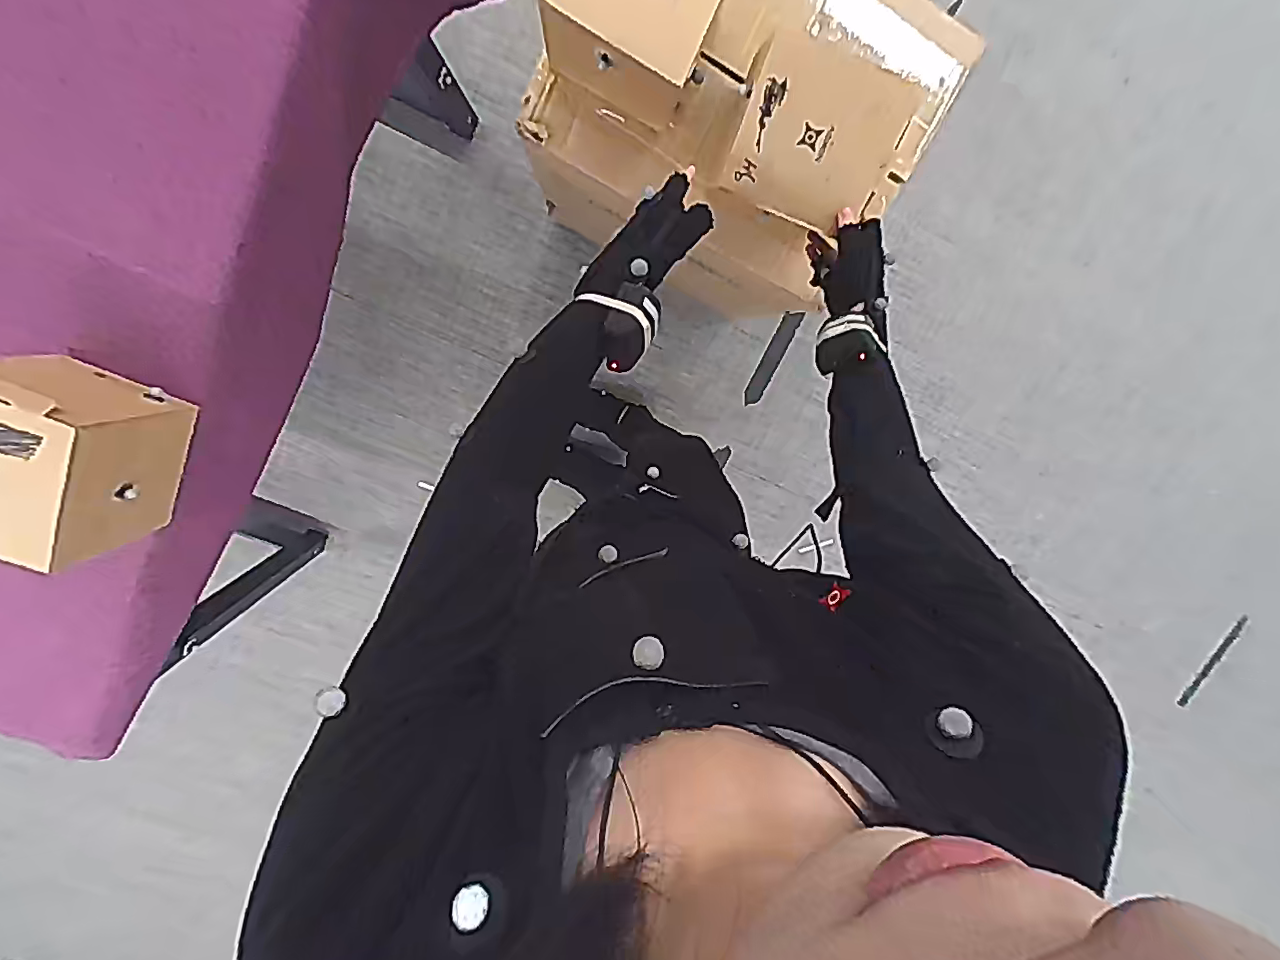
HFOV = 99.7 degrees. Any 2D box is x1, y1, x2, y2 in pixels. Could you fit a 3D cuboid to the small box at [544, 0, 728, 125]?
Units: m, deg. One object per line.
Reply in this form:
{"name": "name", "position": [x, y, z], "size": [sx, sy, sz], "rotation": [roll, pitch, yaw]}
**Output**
{"name": "small box", "position": [0.002, -0.561, 0.638], "size": [0.179, 0.176, 0.168], "rotation": [24, 104, -10]}

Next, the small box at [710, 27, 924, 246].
{"name": "small box", "position": [0.201, -0.416, 0.673], "size": [0.179, 0.176, 0.168], "rotation": [19, 120, -8]}

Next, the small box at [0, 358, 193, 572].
{"name": "small box", "position": [-0.665, -0.029, 0.617], "size": [0.168, 0.176, 0.179], "rotation": [22, 102, -8]}
